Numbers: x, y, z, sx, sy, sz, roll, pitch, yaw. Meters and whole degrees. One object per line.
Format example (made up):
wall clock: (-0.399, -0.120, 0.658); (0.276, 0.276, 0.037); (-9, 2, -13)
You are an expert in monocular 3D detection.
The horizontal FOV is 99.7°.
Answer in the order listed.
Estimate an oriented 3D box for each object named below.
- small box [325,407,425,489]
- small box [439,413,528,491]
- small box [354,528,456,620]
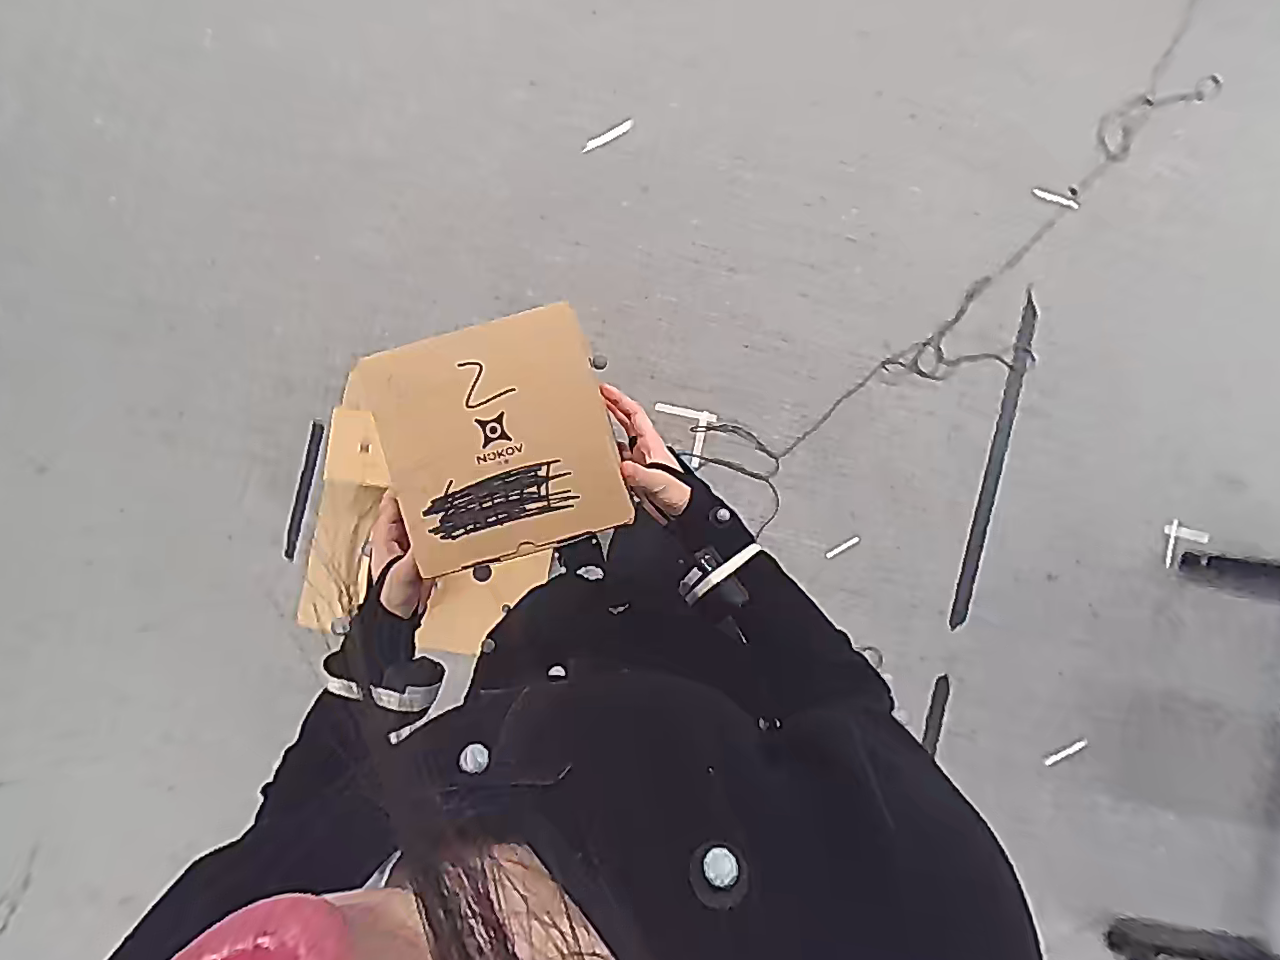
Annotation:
small box: (-0.641, -0.073, 1.328); (0.168, 0.176, 0.179); (6, 89, -4)
small box: (-0.381, -0.067, 1.349); (0.179, 0.176, 0.168); (8, 89, -5)
small box: (-0.567, 0.222, 1.329); (0.168, 0.176, 0.179); (15, 89, -5)
